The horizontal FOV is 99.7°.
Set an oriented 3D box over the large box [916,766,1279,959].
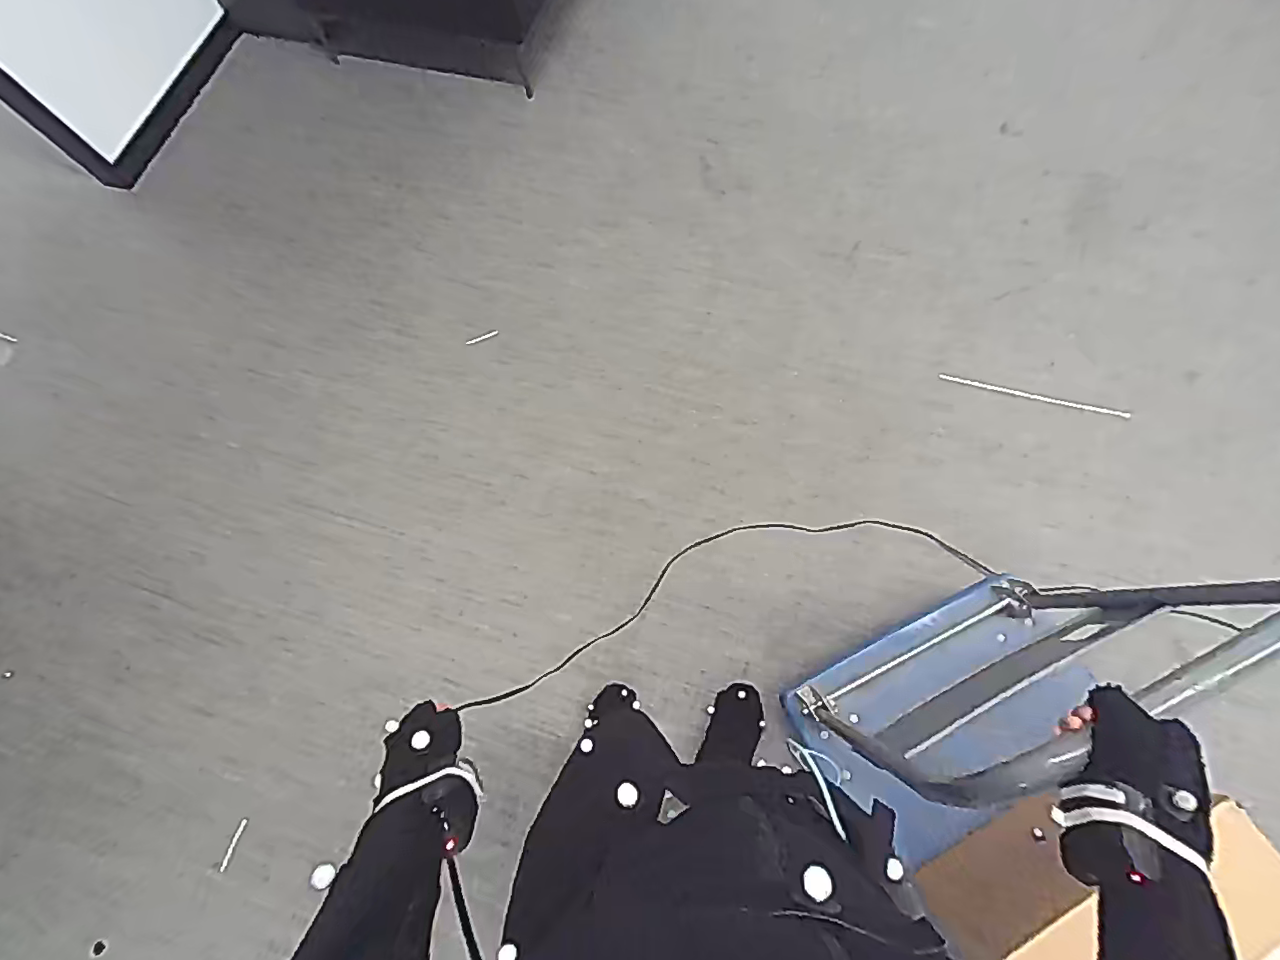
[{"bbox_3d":[0.734,0.715,0.829,0.408,0.320,0.320,-30,72,-7],"label":"large box"}]
